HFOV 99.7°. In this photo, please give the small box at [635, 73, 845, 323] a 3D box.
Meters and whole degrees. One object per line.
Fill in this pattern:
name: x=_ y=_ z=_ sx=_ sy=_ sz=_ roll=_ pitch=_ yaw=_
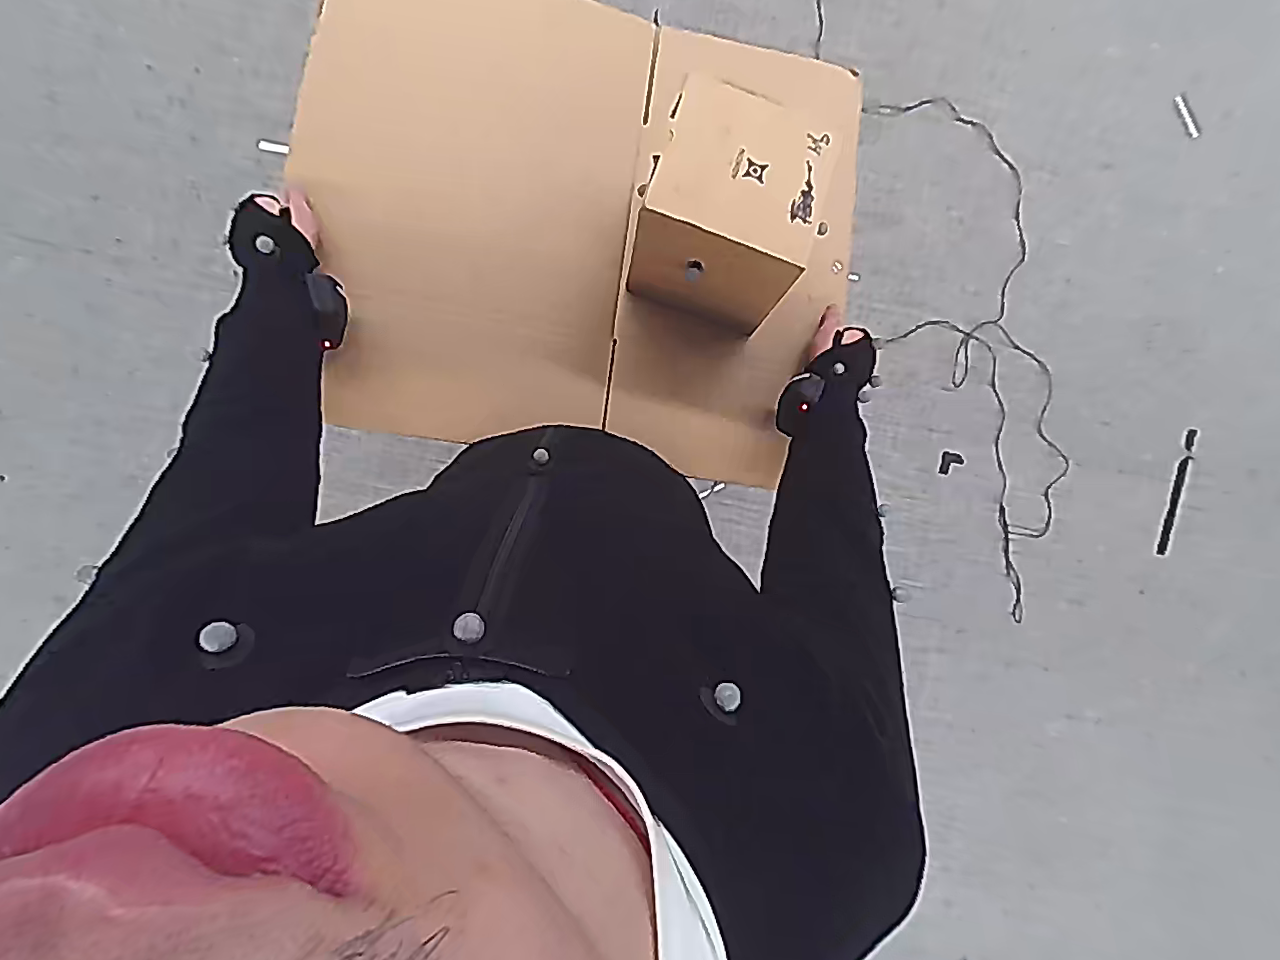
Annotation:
small box: x=0.100 y=-0.306 z=0.626 sx=0.179 sy=0.176 sz=0.168 roll=19 pitch=81 yaw=-3
